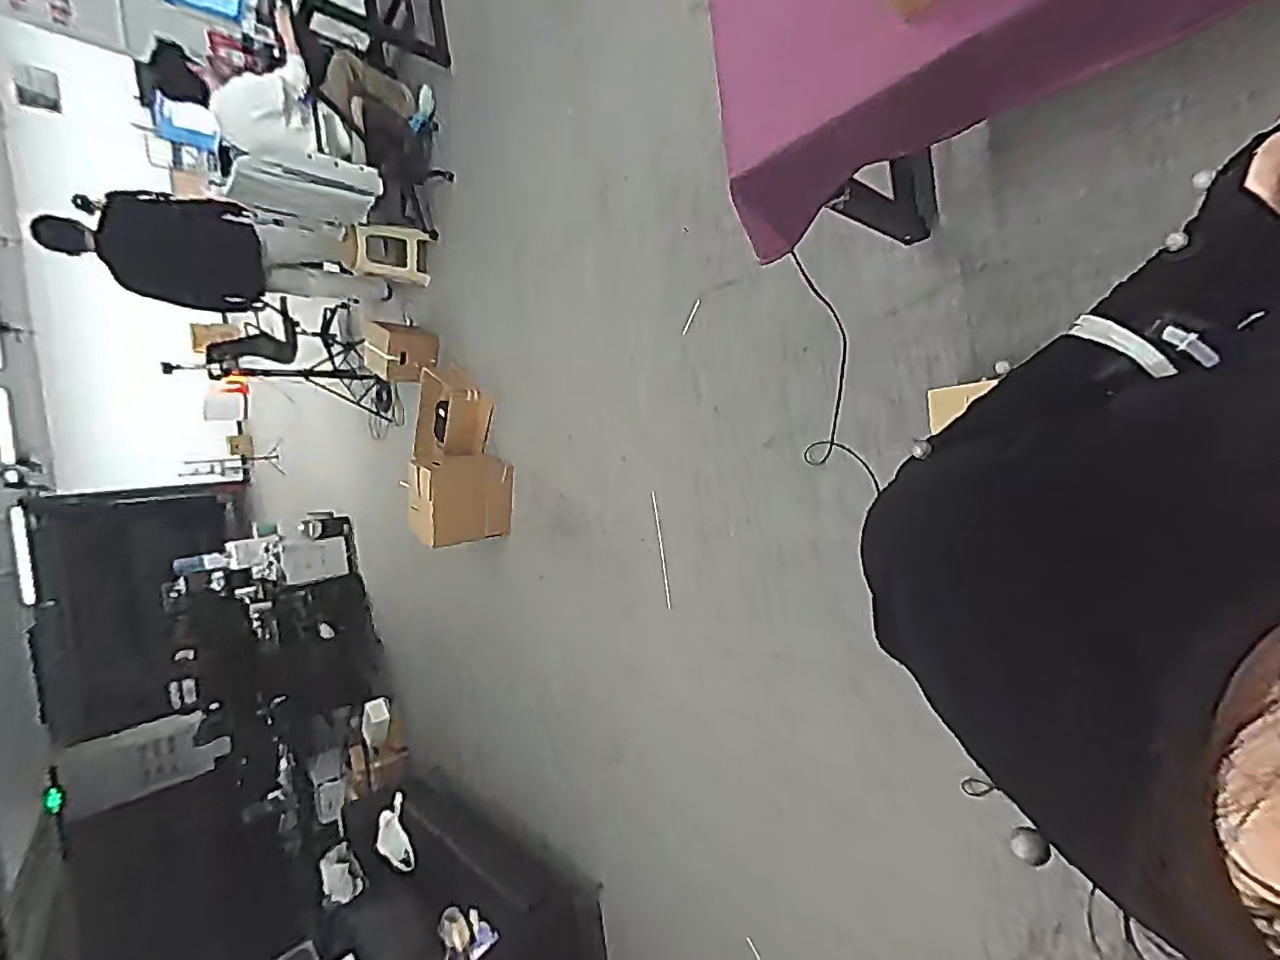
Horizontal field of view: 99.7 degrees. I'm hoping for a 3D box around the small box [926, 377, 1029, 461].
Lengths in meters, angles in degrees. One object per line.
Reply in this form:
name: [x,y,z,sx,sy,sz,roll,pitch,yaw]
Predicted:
small box: [0.796,-0.141,1.273,0.168,0.176,0.179,-4,92,47]
